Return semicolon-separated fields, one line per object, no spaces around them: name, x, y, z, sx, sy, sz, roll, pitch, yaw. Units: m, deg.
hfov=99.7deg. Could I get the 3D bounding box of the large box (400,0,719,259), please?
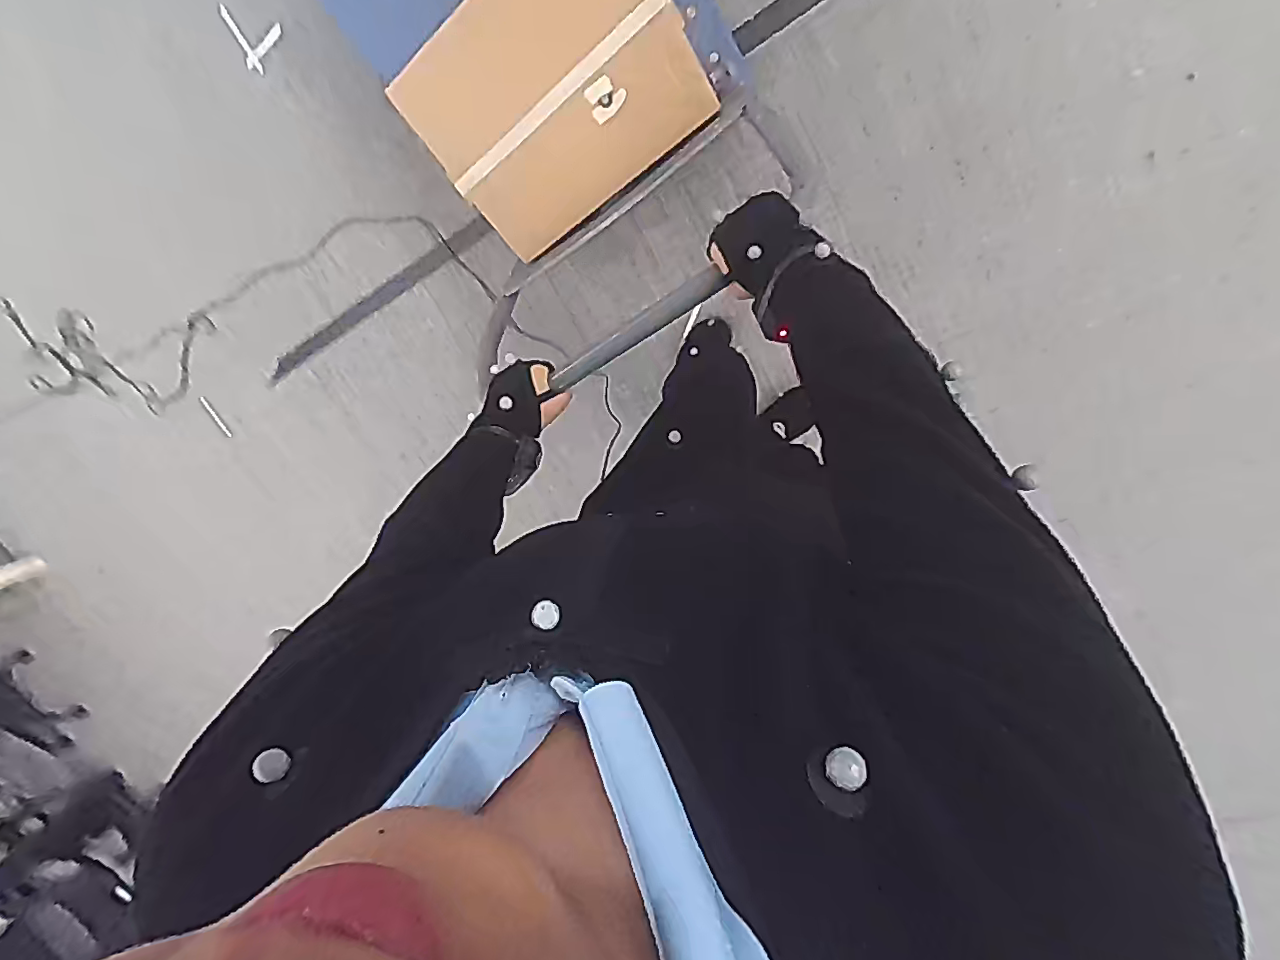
large box;-0.122;-0.672;0.938;0.408;0.320;0.320;-30;123;22
